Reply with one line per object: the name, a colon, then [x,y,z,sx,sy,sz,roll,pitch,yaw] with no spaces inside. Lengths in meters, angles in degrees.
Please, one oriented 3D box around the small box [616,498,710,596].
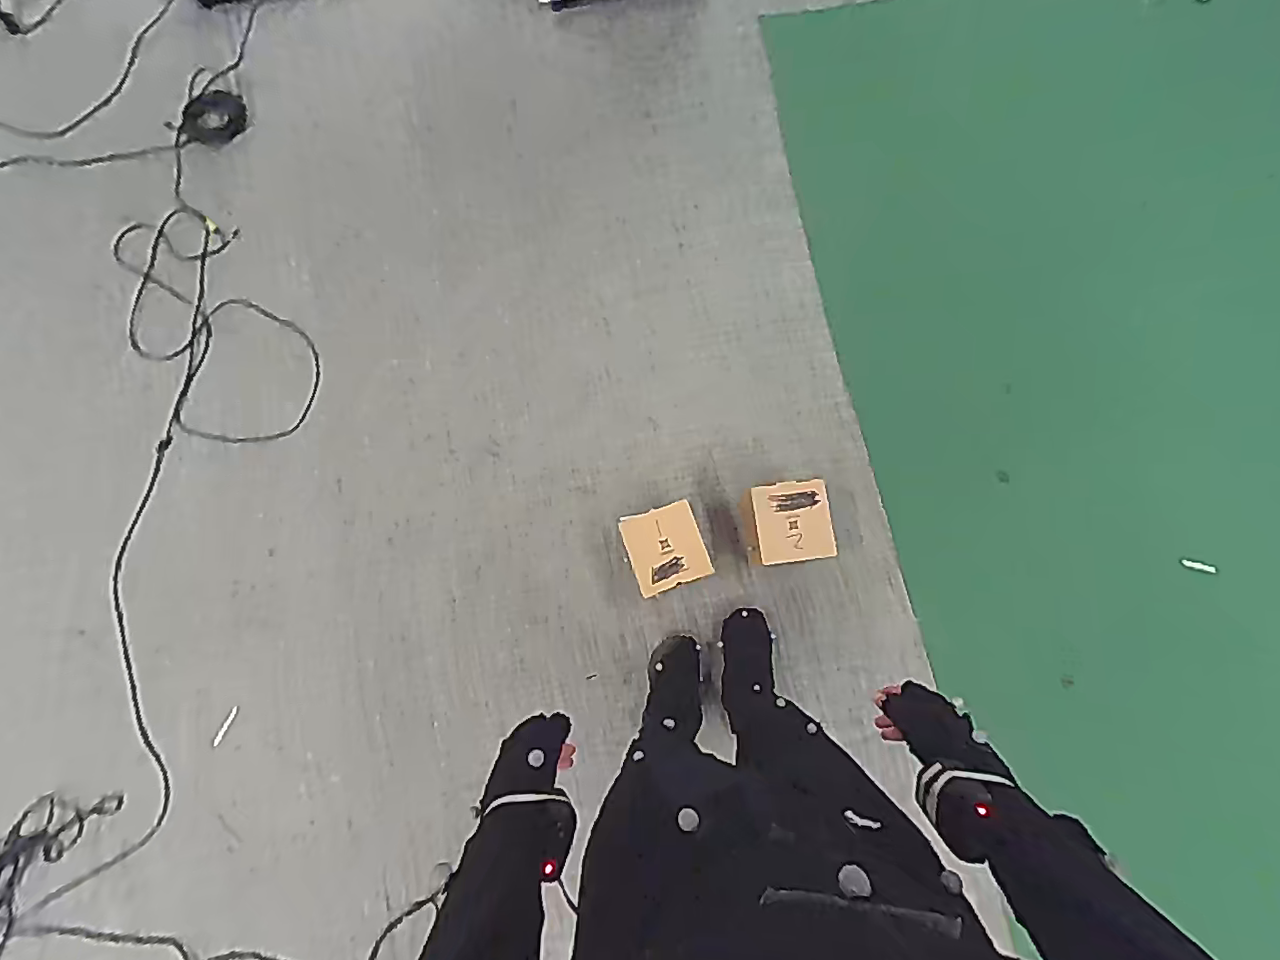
small box: [0.052,0.158,1.255,0.168,0.176,0.179,-20,80,-3]
